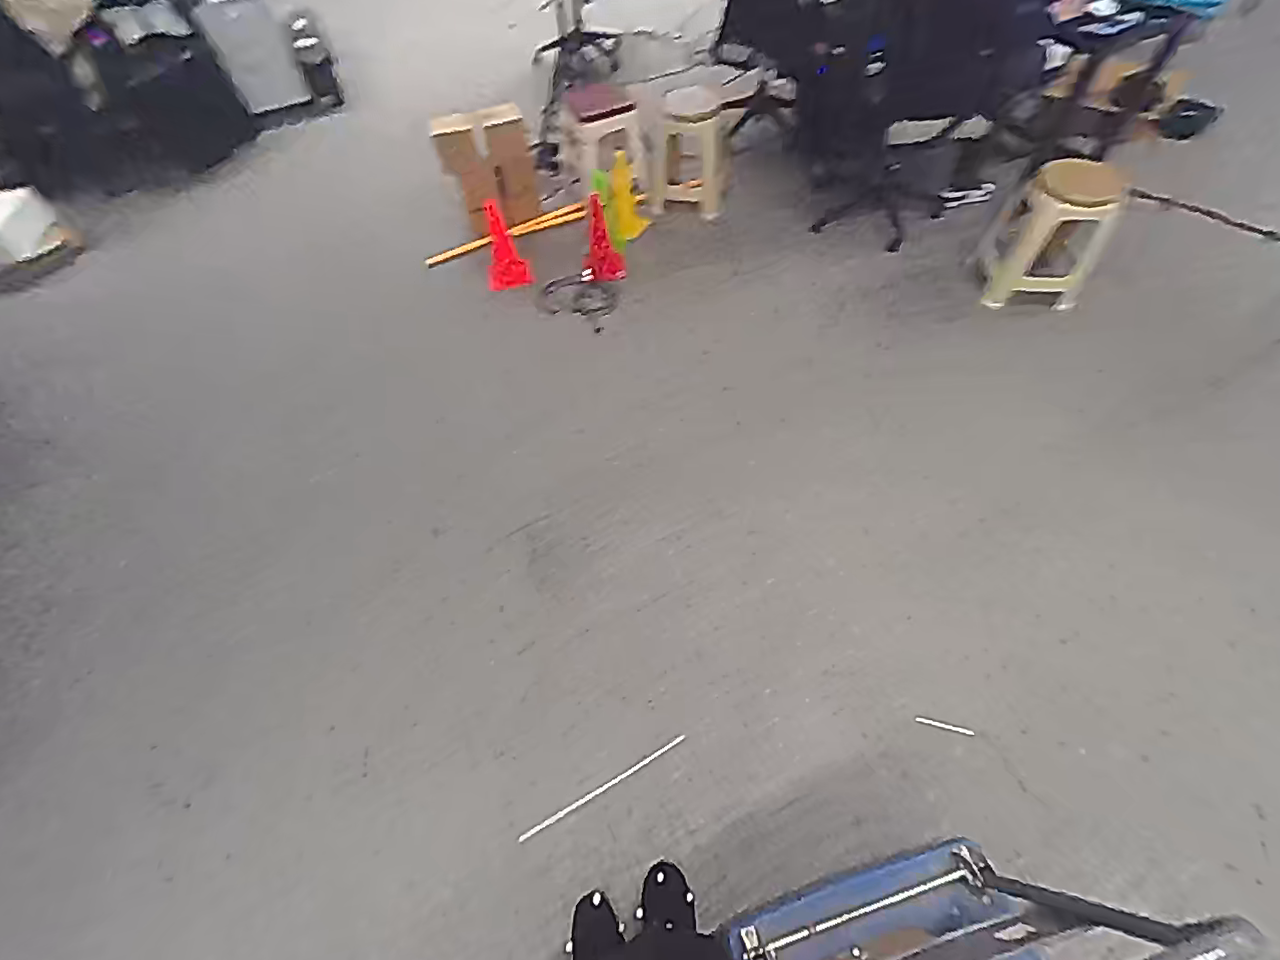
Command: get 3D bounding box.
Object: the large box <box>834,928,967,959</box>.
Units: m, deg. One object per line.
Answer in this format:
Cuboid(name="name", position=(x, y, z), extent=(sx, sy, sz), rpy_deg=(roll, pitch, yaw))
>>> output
Cuboid(name="large box", position=(0.434, 1.013, 0.833), extent=(0.320, 0.320, 0.408), rpy_deg=(-17, 58, -7))
